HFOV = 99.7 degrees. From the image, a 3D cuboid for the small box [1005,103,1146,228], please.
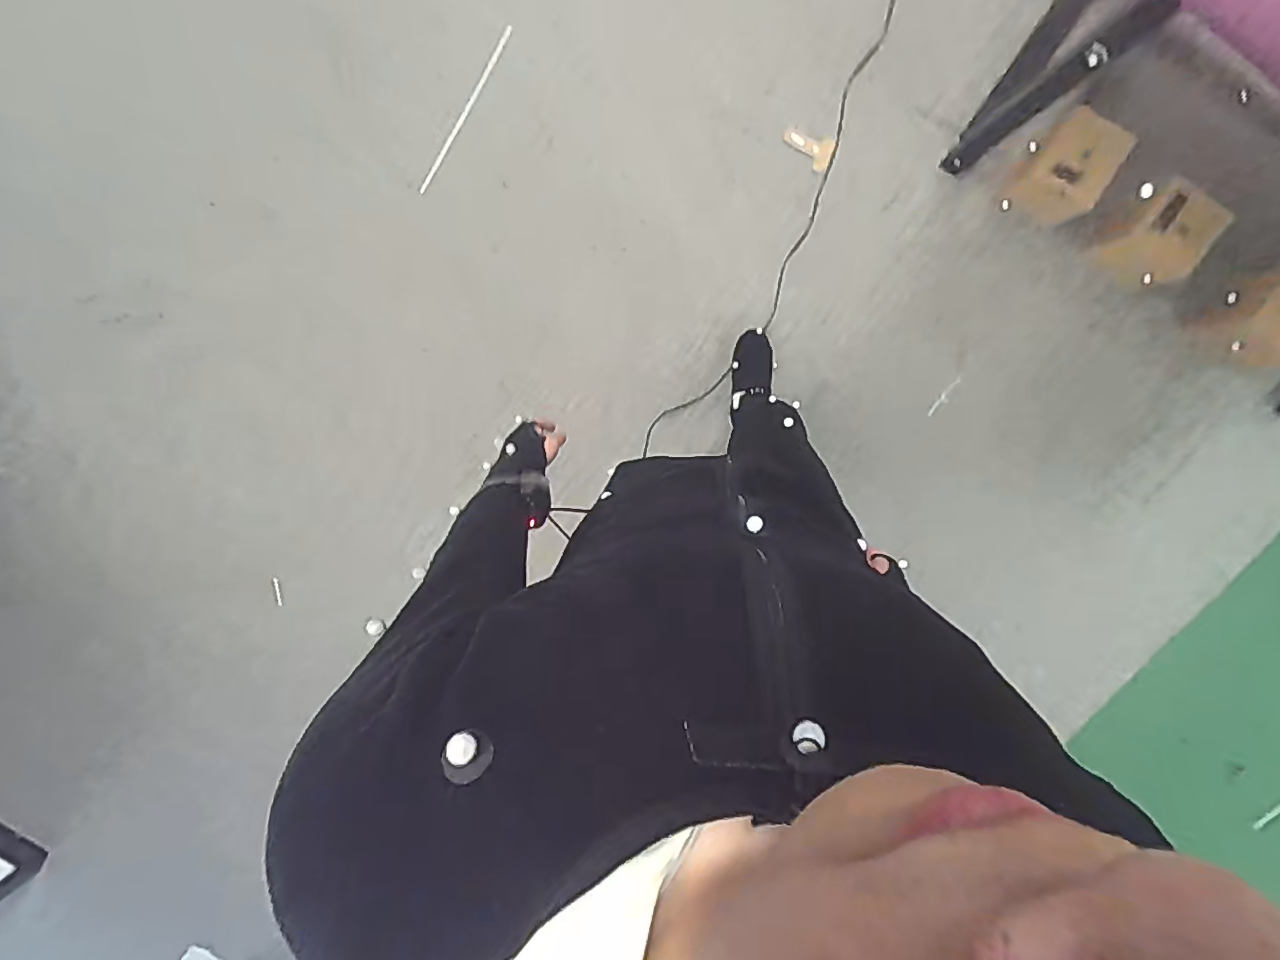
[{"bbox_3d":[1.028,-0.742,1.302,0.168,0.176,0.179,30,101,-1],"label":"small box"}]
